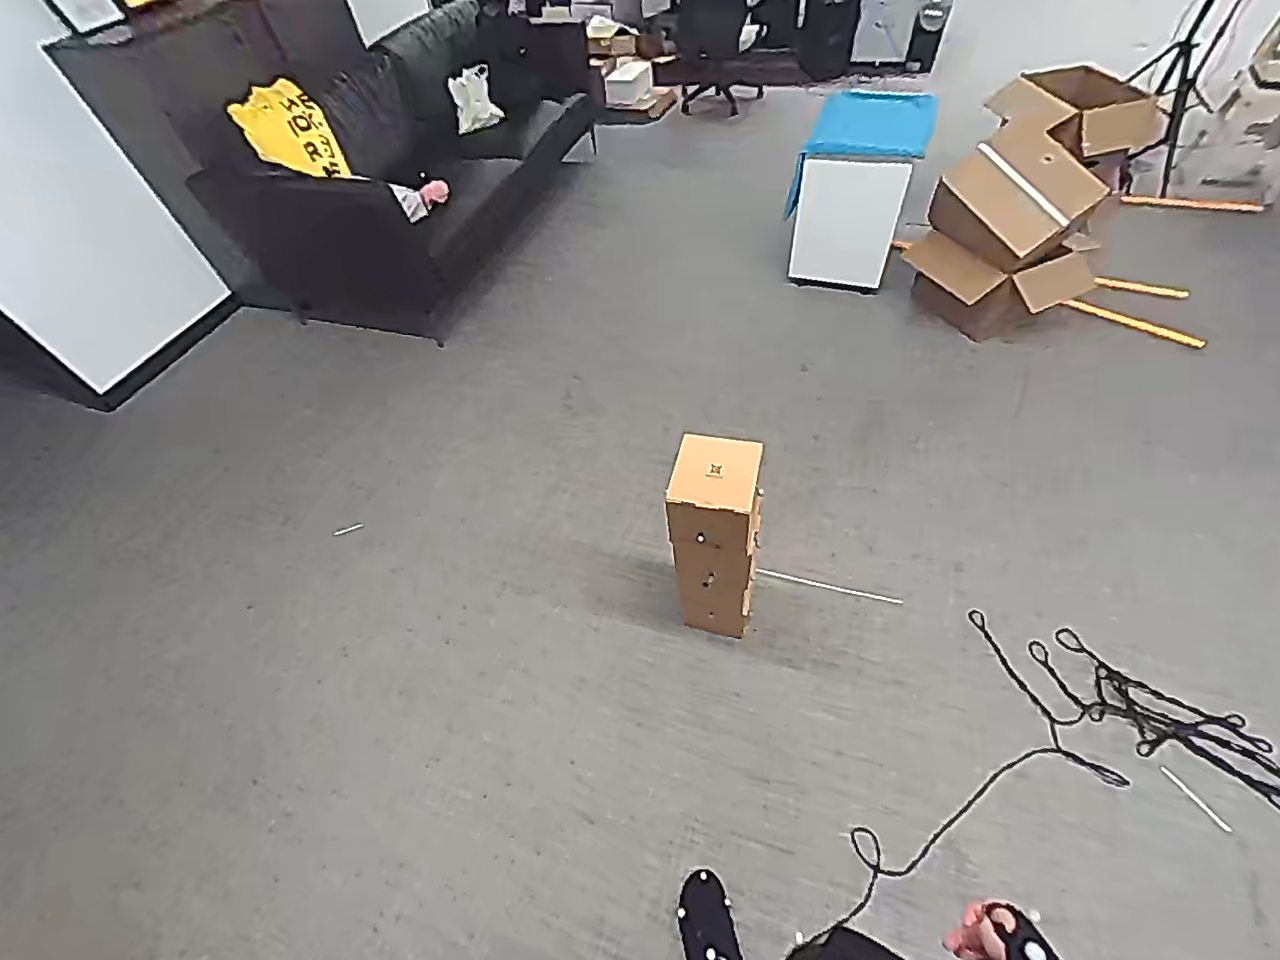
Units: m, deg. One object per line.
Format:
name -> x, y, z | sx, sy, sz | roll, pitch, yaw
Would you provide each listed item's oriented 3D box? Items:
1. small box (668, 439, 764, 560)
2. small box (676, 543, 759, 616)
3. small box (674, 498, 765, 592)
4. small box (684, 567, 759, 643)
small box -> 0.161, 0.041, 1.128 | 0.168, 0.176, 0.179 | 8, 54, 15
small box -> 0.202, 0.231, 1.391 | 0.179, 0.176, 0.168 | 10, 54, 16
small box -> 0.185, 0.141, 1.255 | 0.179, 0.176, 0.168 | 9, 53, 14
small box -> 0.229, 0.336, 1.515 | 0.179, 0.176, 0.168 | 10, 53, 15
